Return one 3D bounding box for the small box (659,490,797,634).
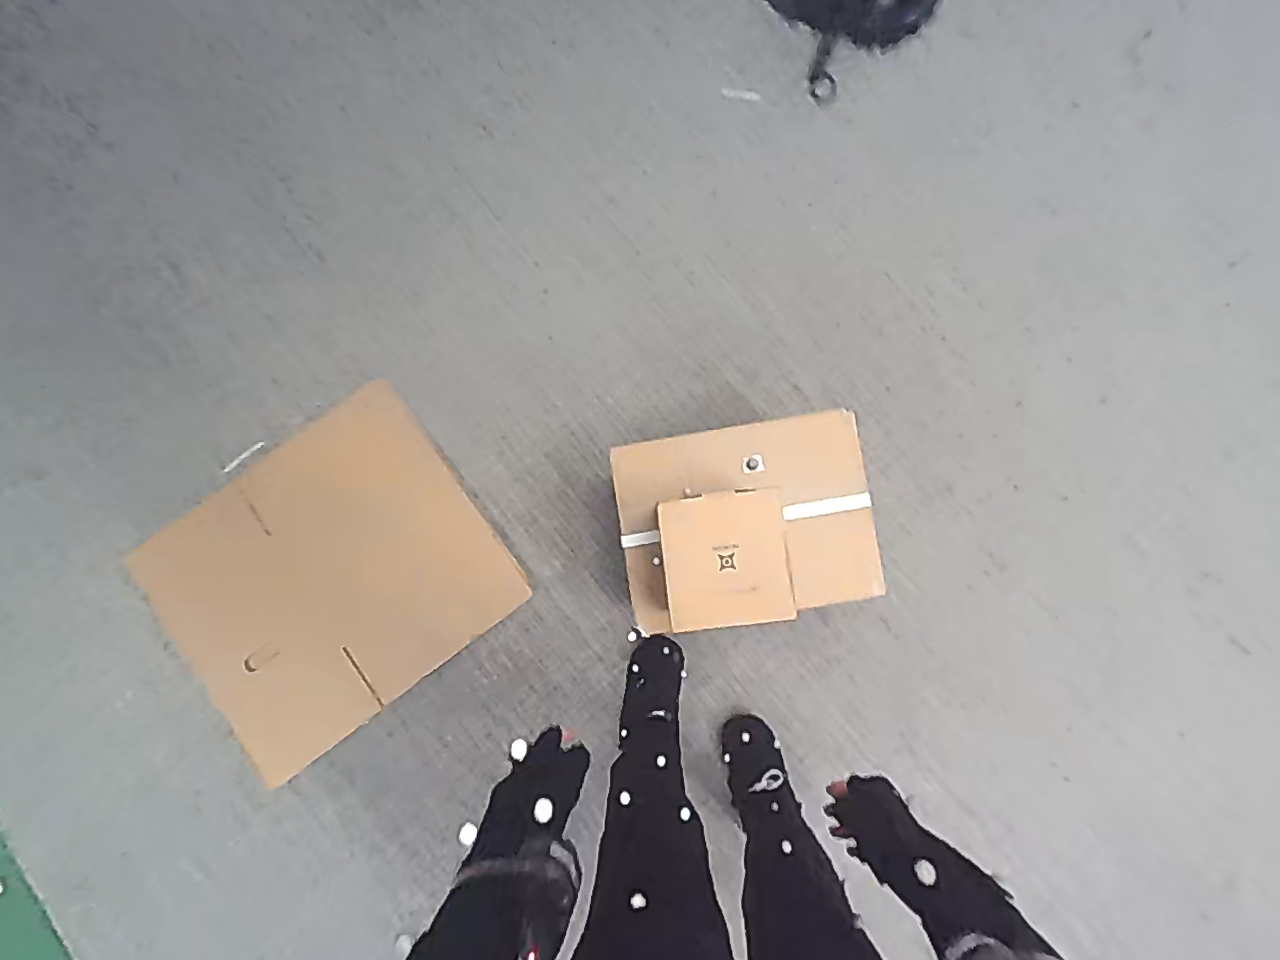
[{"bbox_3d":[0.117,0.115,0.792,0.168,0.176,0.179,-7,85,2],"label":"small box"}]
